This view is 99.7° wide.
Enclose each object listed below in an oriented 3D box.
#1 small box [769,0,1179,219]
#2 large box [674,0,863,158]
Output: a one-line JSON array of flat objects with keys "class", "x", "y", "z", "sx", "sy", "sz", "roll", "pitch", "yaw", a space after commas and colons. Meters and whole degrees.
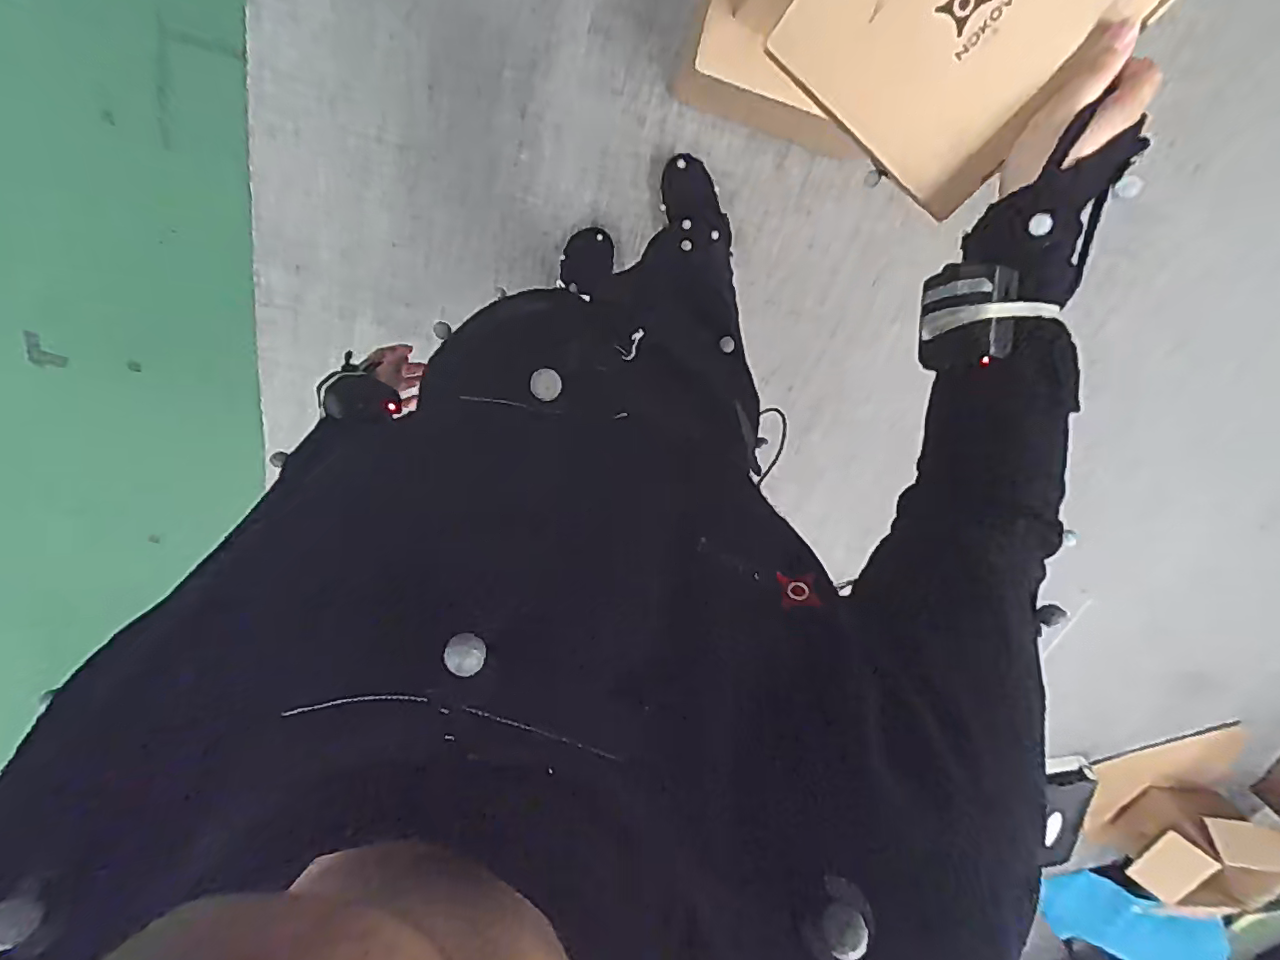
[{"class": "small box", "x": 0.211, "y": -0.327, "z": 0.384, "sx": 0.179, "sy": 0.176, "sz": 0.168, "roll": 34, "pitch": 125, "yaw": -13}, {"class": "large box", "x": 0.302, "y": -0.769, "z": 0.900, "sx": 0.408, "sy": 0.320, "sz": 0.320, "roll": 11, "pitch": 118, "yaw": -11}]
